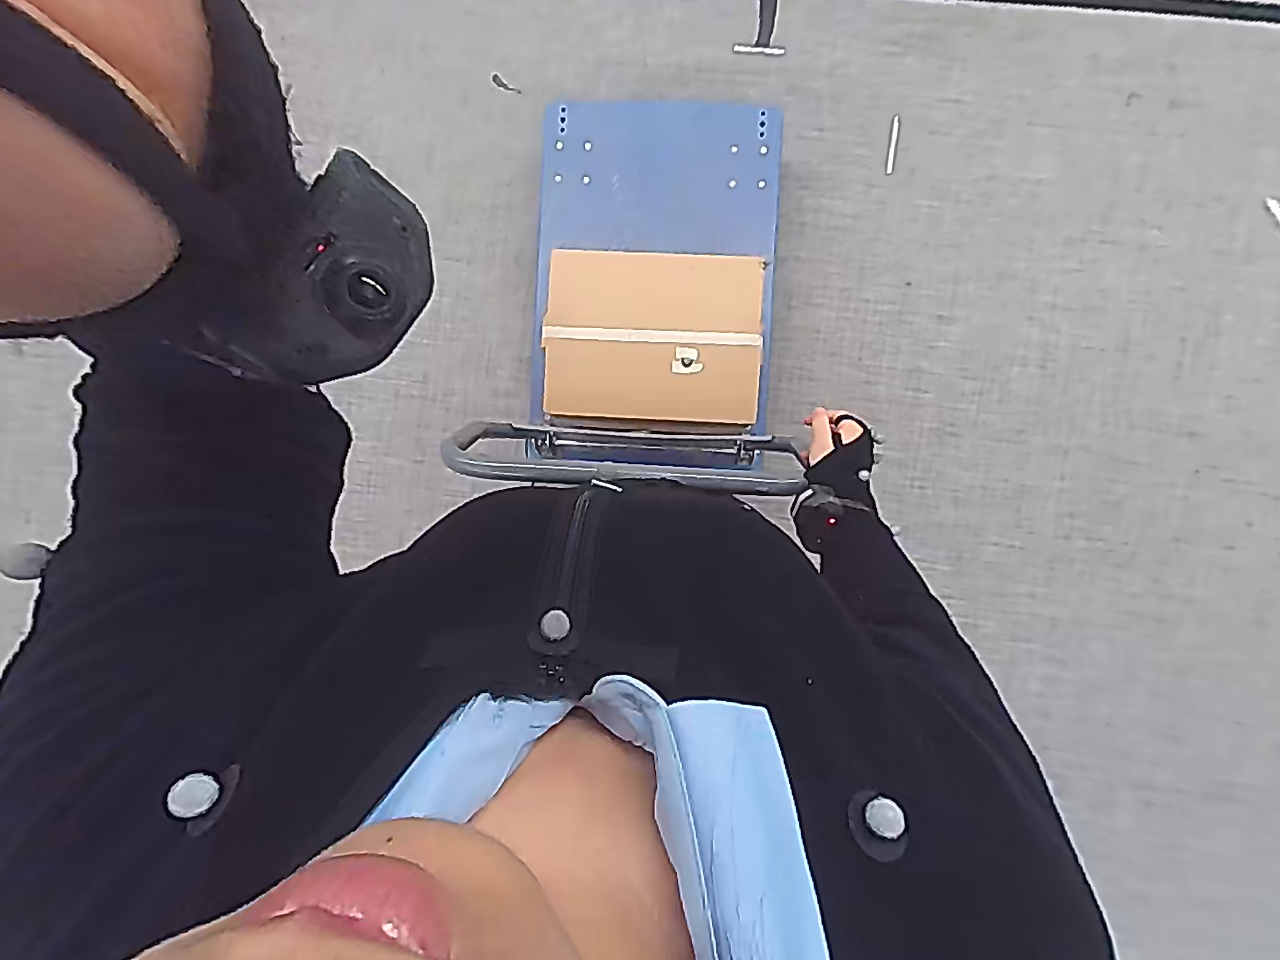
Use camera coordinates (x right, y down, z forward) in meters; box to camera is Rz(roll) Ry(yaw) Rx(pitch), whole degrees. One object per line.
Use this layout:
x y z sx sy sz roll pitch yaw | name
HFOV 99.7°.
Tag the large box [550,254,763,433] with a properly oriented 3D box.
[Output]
0.031 -0.271 1.175 0.408 0.320 0.320 3 92 1 | large box
